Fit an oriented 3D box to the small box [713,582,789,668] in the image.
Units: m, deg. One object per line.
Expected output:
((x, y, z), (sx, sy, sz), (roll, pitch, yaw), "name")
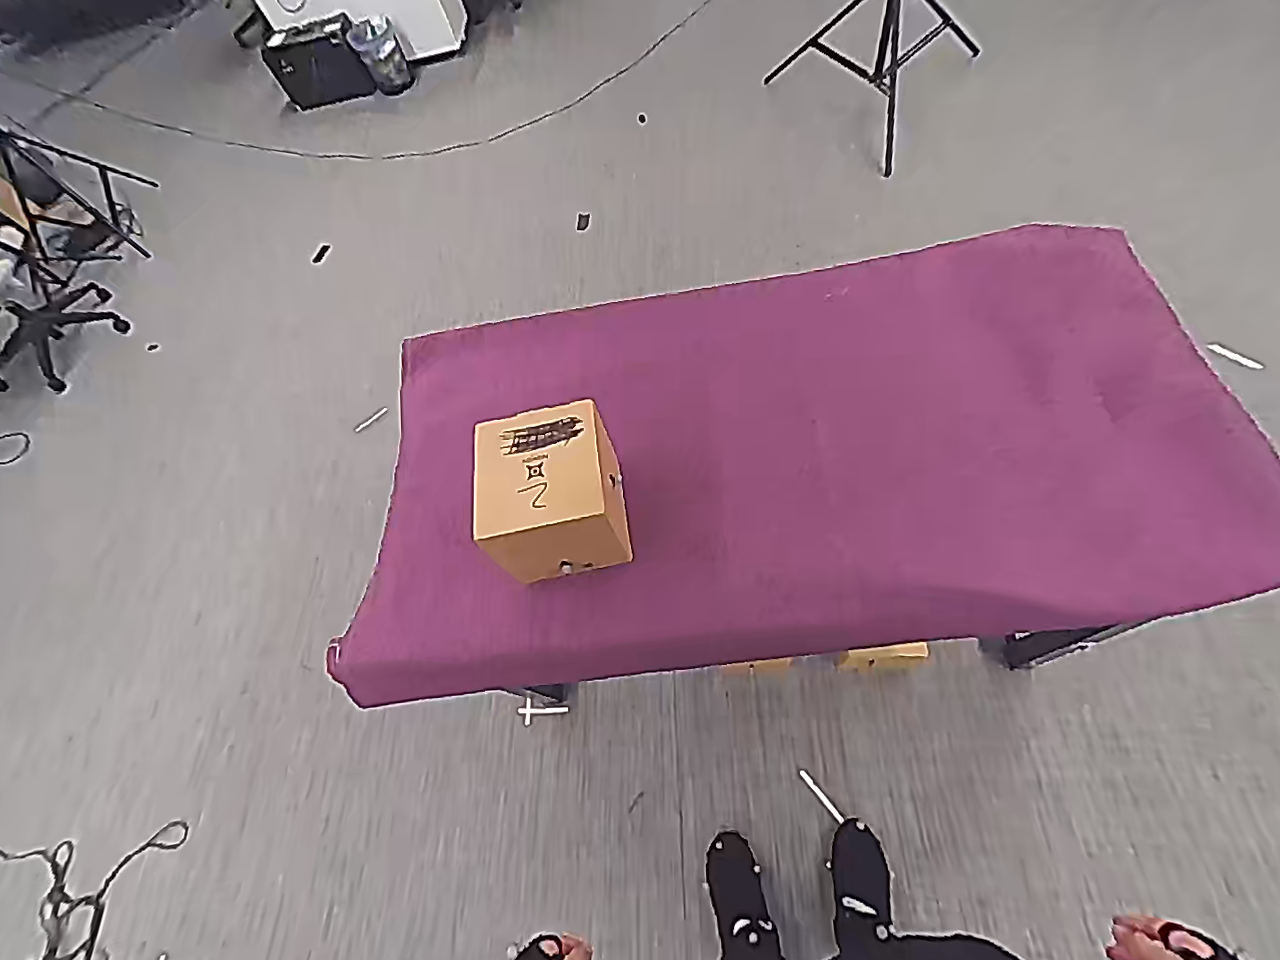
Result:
((0.271, 0.363, 1.332), (0.168, 0.176, 0.179), (-5, 61, 8), "small box")

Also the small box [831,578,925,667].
((0.556, 0.344, 1.287), (0.168, 0.176, 0.179), (-3, 61, 10), "small box")
